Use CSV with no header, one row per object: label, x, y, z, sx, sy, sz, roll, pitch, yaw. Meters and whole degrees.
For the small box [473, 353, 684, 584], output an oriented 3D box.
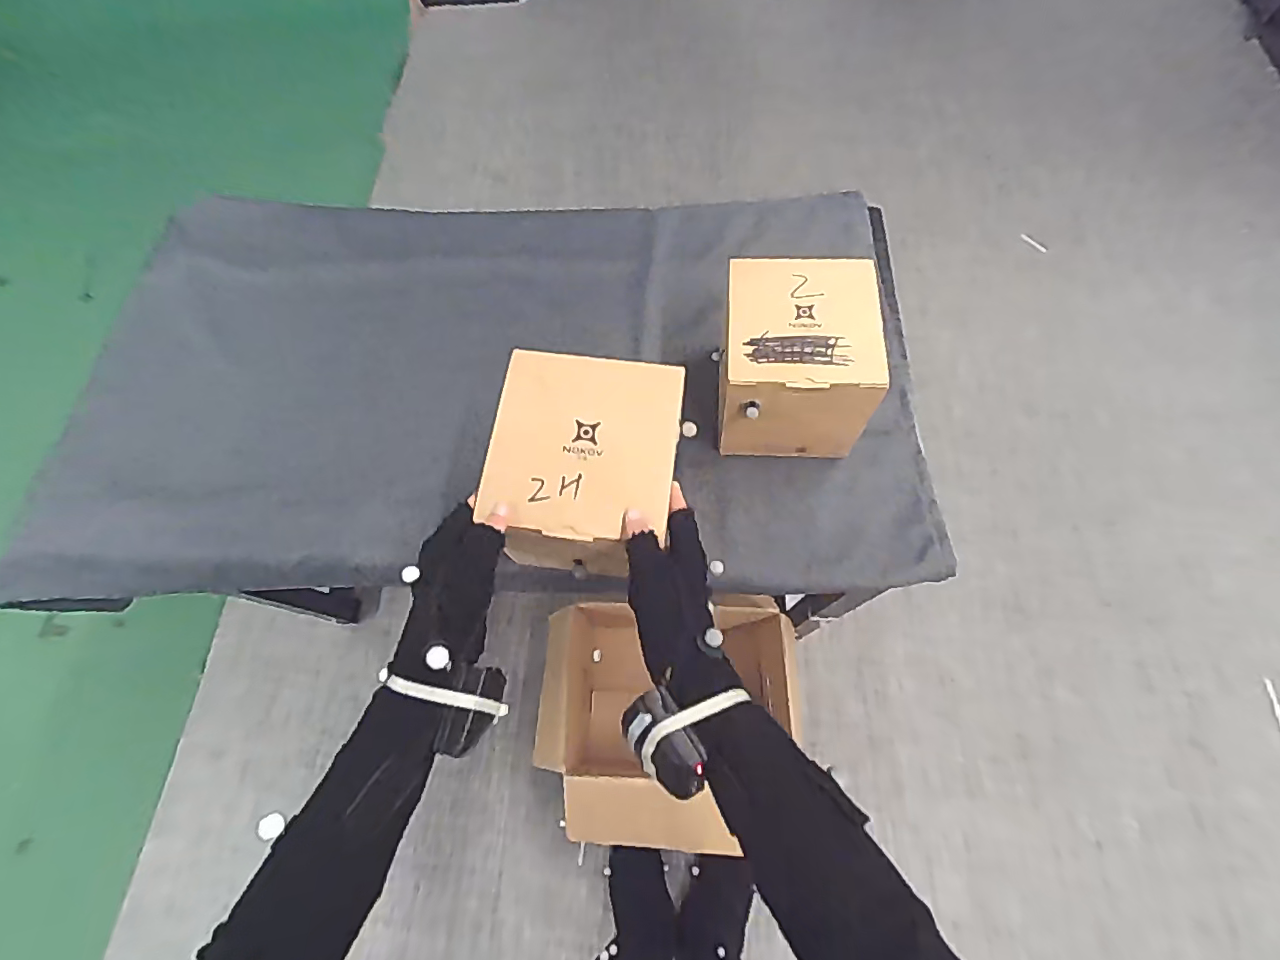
small box,-0.050,-0.003,0.556,0.168,0.176,0.179,6,69,4
